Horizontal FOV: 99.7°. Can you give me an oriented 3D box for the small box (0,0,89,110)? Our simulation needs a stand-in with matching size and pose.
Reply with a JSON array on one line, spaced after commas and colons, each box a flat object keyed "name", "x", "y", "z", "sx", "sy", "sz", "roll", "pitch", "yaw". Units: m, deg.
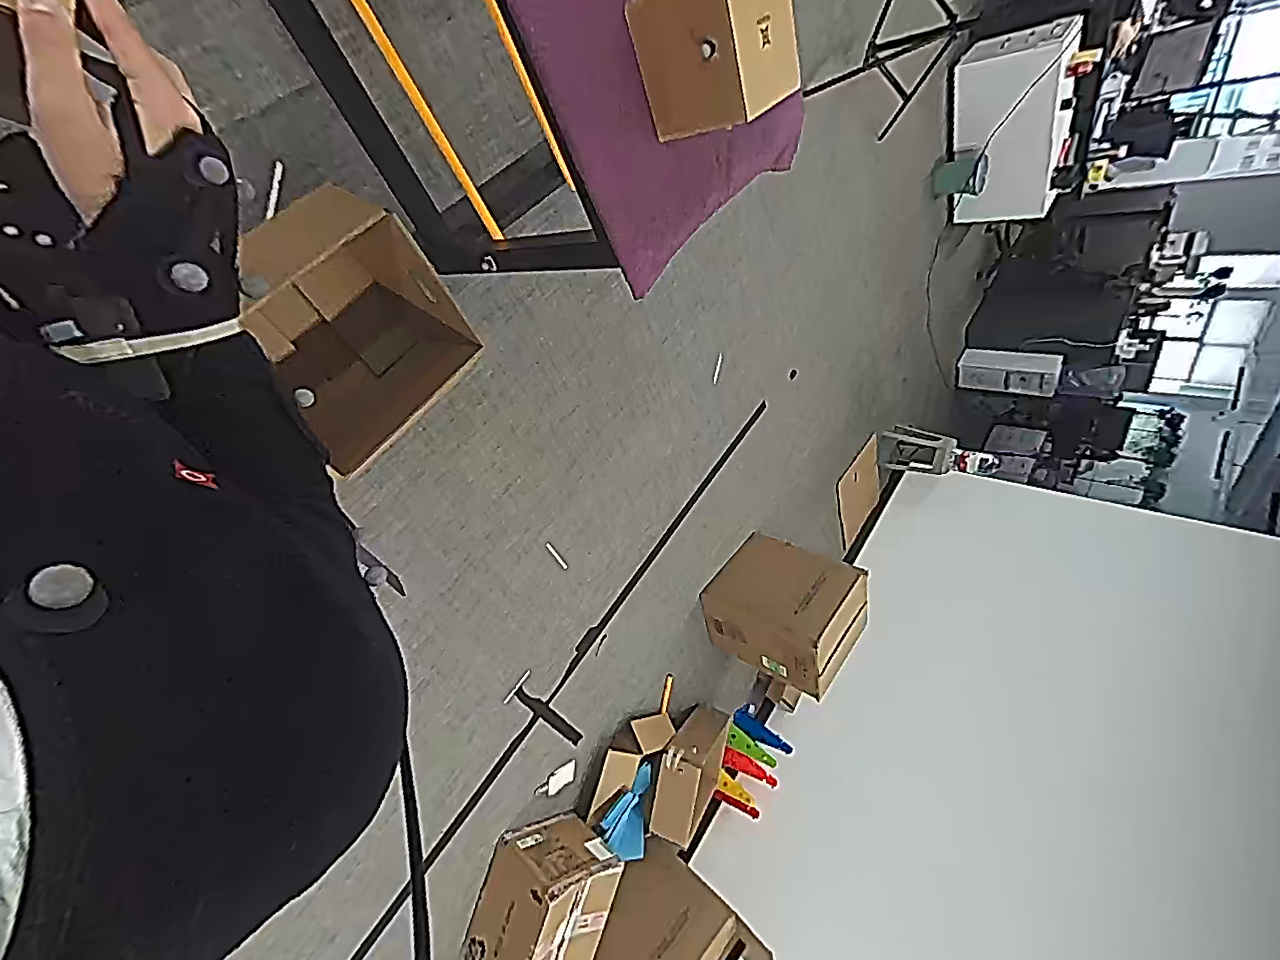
[{"name": "small box", "x": -0.374, "y": -0.310, "z": 0.237, "sx": 0.168, "sy": 0.176, "sz": 0.179, "roll": -4, "pitch": 102, "yaw": -52}]

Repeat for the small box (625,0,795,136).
[{"name": "small box", "x": 0.107, "y": -0.636, "z": 0.802, "sx": 0.168, "sy": 0.176, "sz": 0.179, "roll": -47, "pitch": 134, "yaw": -28}]
